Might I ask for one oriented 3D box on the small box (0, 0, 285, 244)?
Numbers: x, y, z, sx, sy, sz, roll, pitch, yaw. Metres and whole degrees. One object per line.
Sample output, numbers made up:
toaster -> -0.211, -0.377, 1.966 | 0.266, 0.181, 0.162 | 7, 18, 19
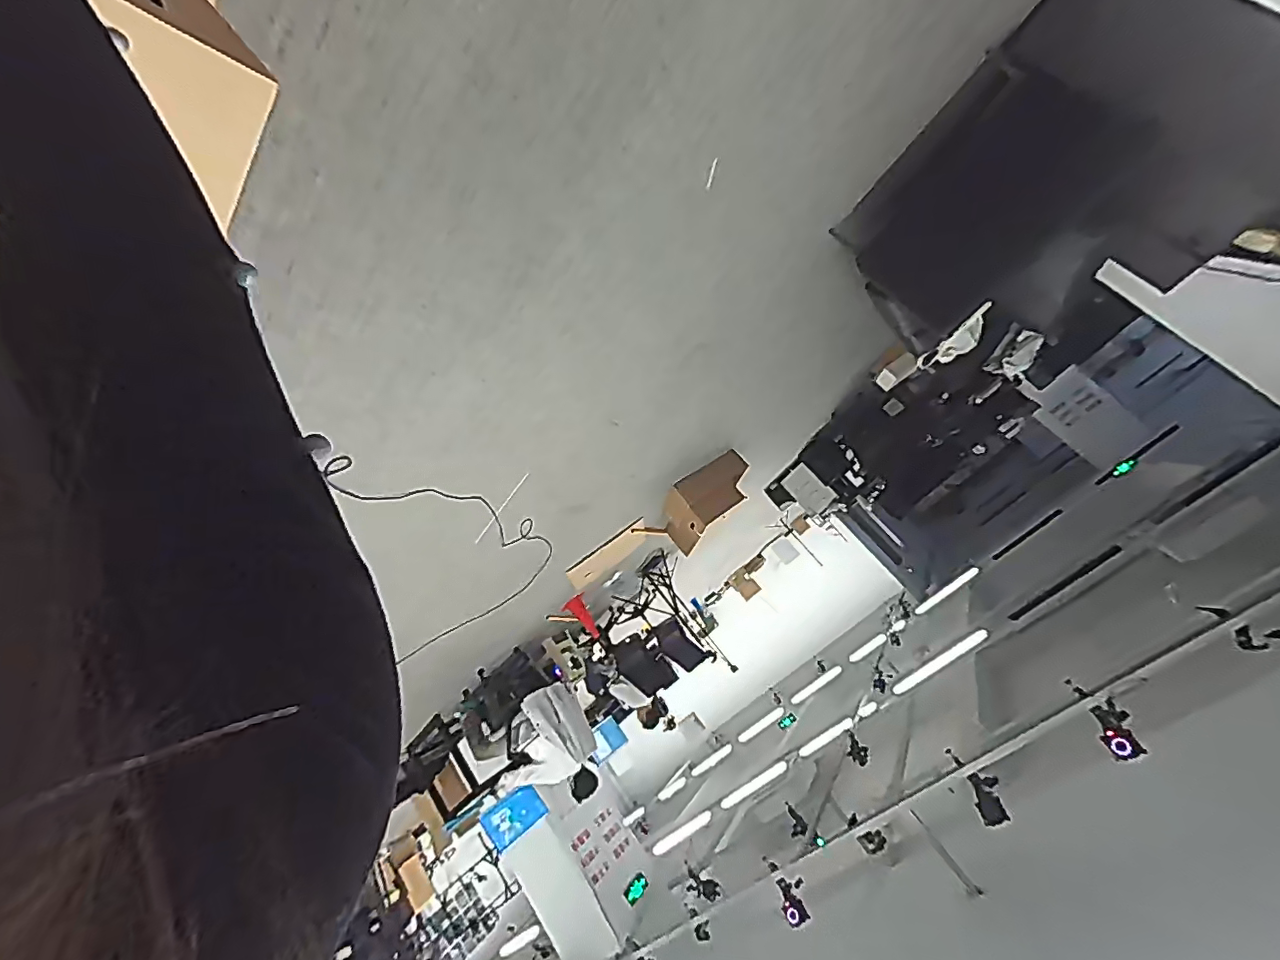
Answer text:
small box -> -0.451, -0.341, 0.454 | 0.168, 0.176, 0.179 | -49, 160, 22
